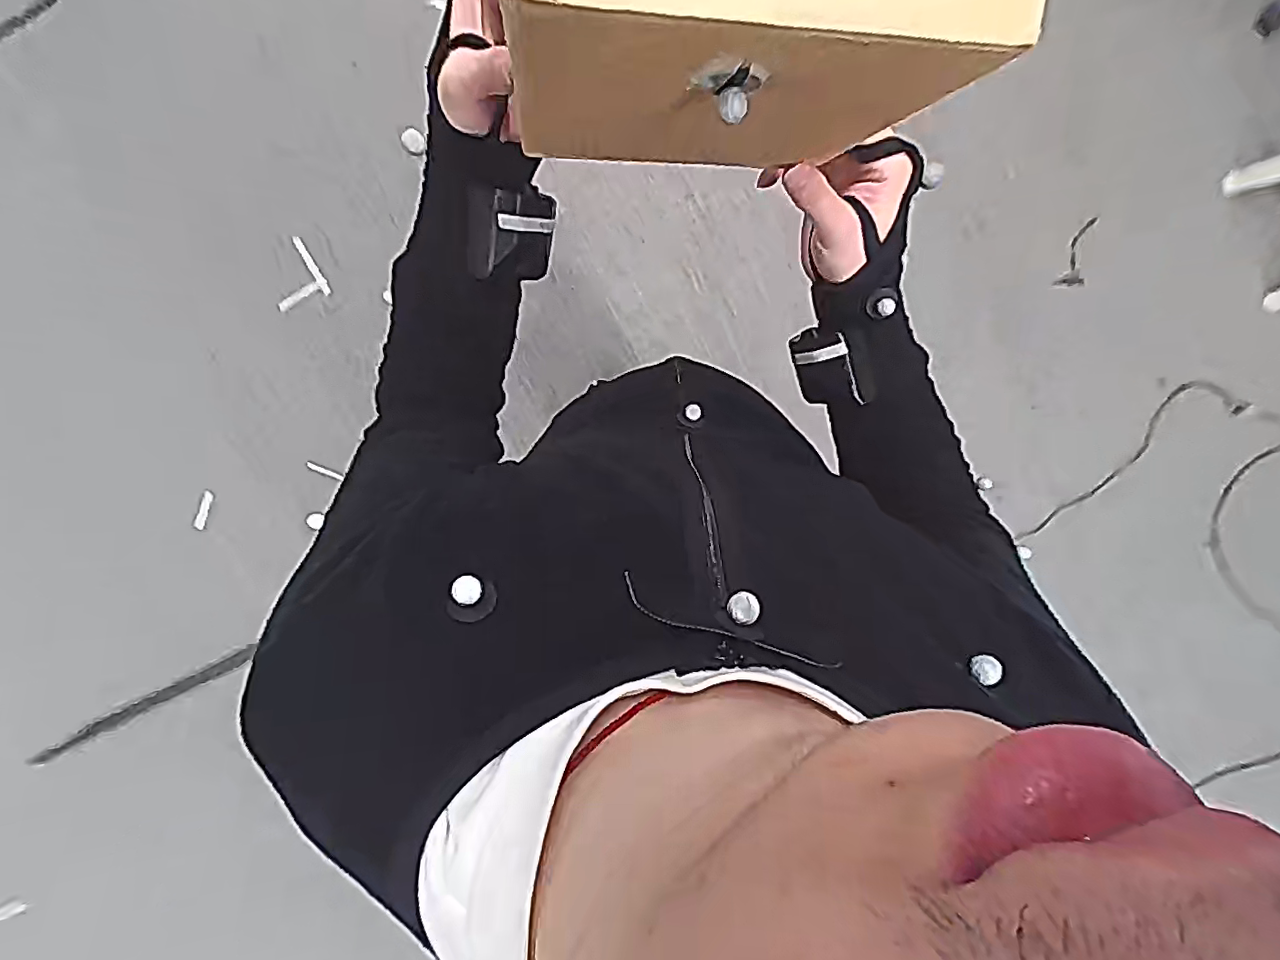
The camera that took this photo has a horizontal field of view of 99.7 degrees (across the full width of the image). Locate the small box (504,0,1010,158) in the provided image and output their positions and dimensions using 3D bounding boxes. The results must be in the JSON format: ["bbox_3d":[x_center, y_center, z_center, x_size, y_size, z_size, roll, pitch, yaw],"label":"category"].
[{"bbox_3d":[0.028,-0.250,0.228,0.179,0.176,0.168,-4,108,-10],"label":"small box"}]
